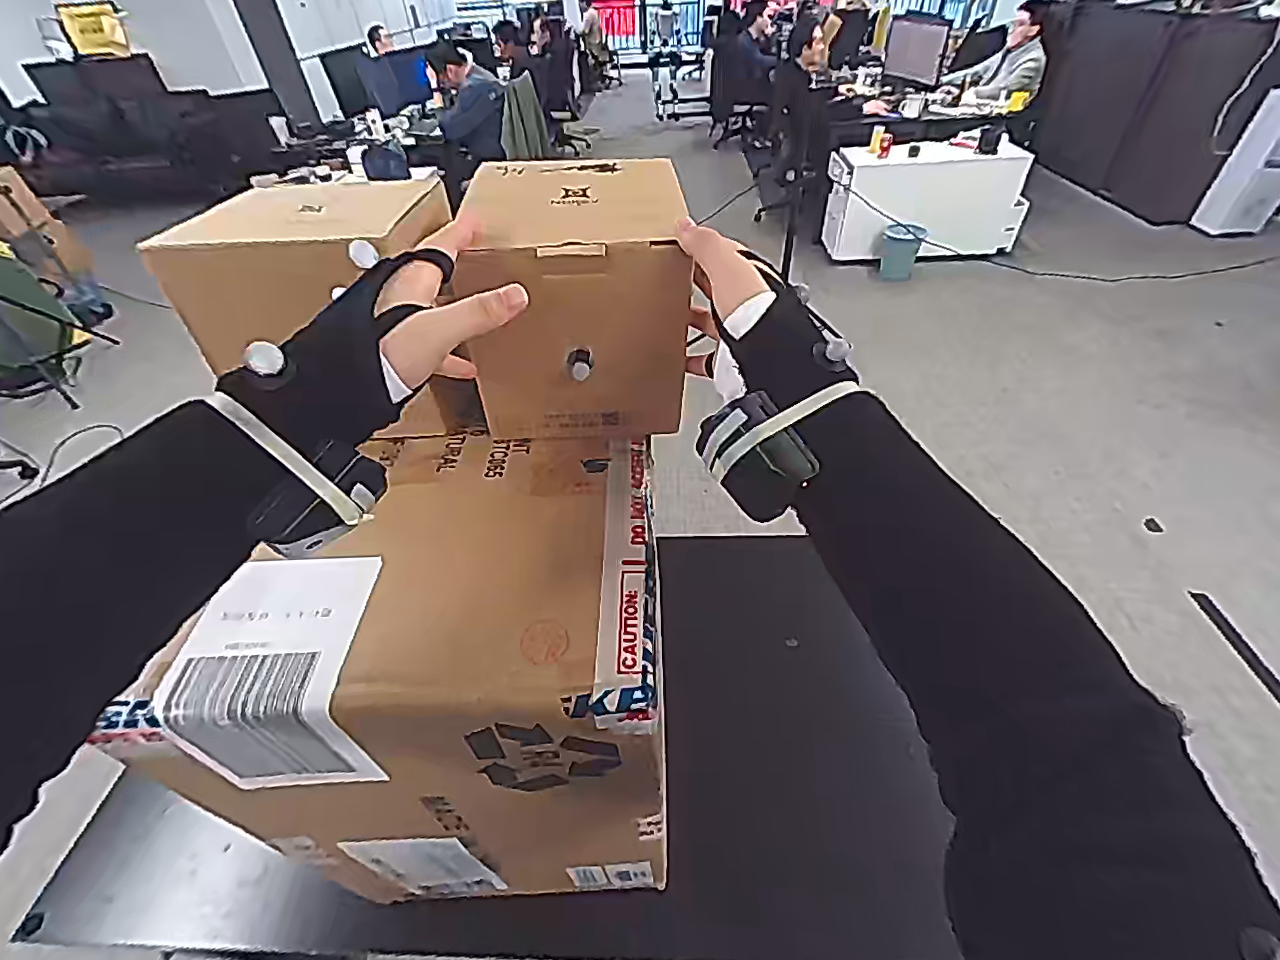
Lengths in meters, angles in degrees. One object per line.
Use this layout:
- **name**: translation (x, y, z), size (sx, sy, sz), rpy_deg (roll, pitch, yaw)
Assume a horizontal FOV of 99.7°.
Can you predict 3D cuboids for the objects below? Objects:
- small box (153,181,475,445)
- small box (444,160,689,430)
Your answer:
- **small box**: translation (-0.252, -0.150, 0.481), size (0.168, 0.176, 0.179), rpy_deg (-5, 42, -1)
- **small box**: translation (-0.053, -0.155, 0.467), size (0.168, 0.176, 0.179), rpy_deg (-2, 47, -4)
